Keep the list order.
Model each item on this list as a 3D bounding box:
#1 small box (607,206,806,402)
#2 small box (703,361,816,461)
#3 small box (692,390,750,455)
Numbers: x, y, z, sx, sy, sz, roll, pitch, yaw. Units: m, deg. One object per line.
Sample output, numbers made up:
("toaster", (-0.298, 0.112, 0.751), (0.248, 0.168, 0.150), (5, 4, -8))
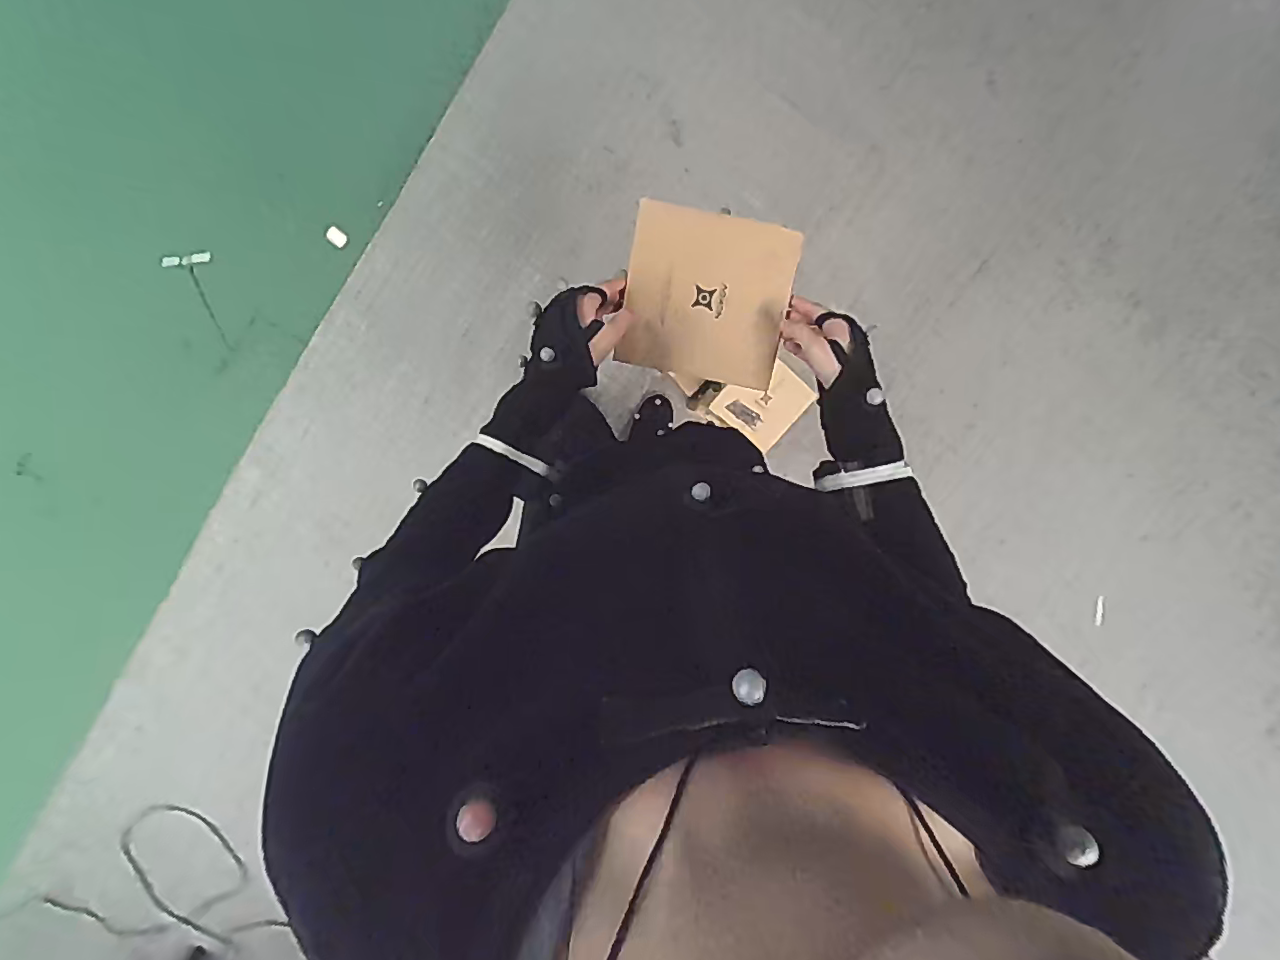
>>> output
("small box", (0.069, -0.201, 0.640), (0.179, 0.176, 0.168), (13, 105, -1))
("small box", (0.259, -0.170, 1.227), (0.168, 0.176, 0.179), (41, 97, -8))
("small box", (0.249, -0.190, 1.391), (0.168, 0.176, 0.179), (35, 98, -8))
